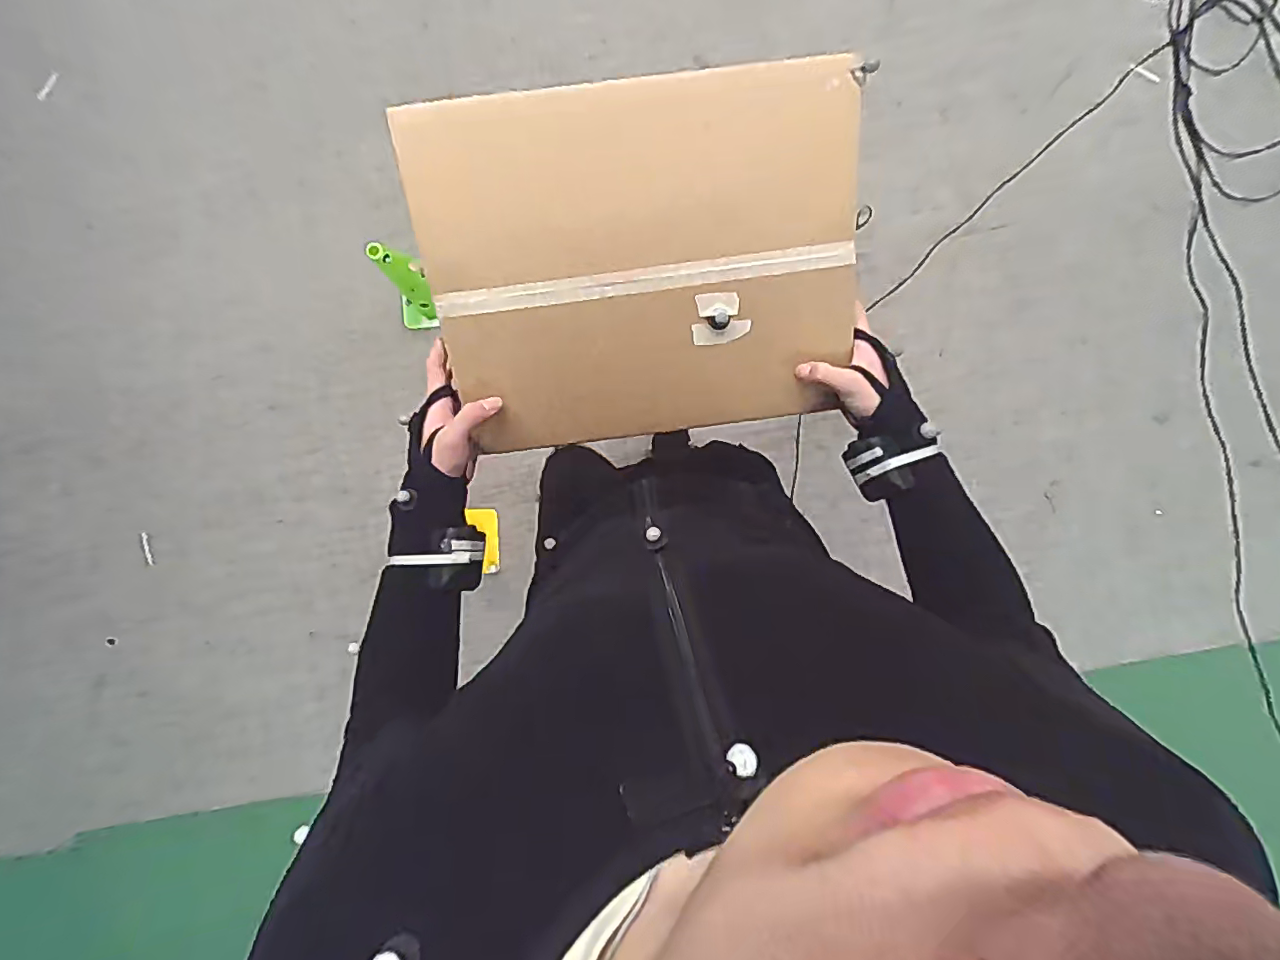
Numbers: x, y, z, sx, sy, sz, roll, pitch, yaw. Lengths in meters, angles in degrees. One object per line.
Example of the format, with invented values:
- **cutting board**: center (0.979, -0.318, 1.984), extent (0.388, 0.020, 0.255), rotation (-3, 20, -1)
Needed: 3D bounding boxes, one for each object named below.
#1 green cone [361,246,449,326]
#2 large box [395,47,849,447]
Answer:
- **green cone**: center (-0.625, -0.545, 1.427), extent (0.200, 0.368, 0.202), rotation (-5, 96, 3)
- **large box**: center (-0.009, -0.262, 0.658), extent (0.408, 0.320, 0.320), rotation (-9, 115, -2)
